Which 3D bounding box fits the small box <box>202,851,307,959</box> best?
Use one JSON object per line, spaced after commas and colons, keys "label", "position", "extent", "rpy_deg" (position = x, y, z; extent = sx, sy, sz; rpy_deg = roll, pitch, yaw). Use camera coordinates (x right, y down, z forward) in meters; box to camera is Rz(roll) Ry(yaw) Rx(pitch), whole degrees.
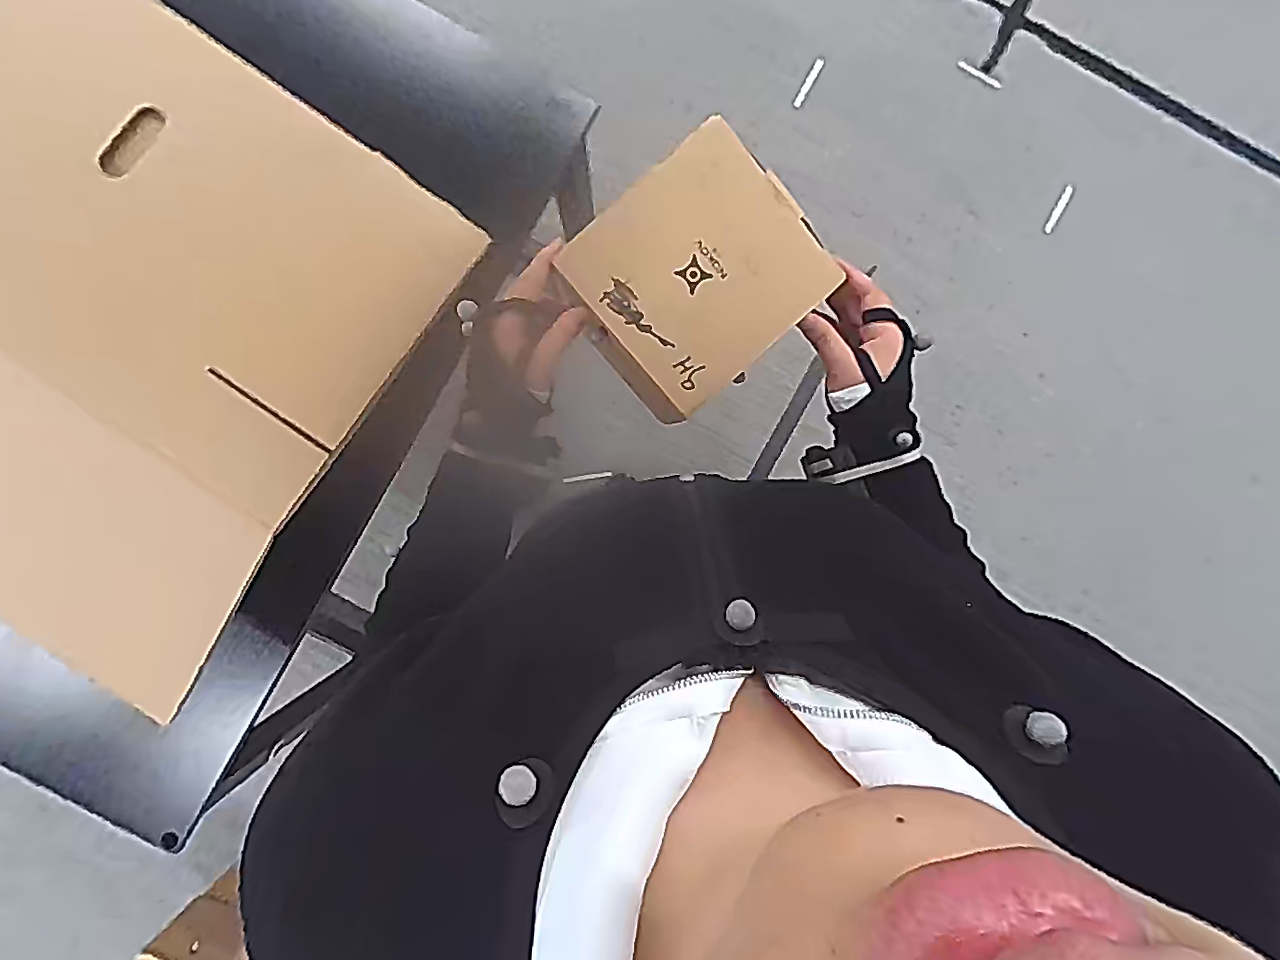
{"label": "small box", "position": [-1.004, 1.094, 1.377], "extent": [0.179, 0.176, 0.168], "rpy_deg": [25, 89, -2]}

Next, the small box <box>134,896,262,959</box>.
{"label": "small box", "position": [-1.005, 1.092, 1.215], "extent": [0.179, 0.176, 0.168], "rpy_deg": [22, 88, 0]}

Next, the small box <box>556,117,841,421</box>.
{"label": "small box", "position": [0.041, -0.173, 0.506], "extent": [0.179, 0.176, 0.168], "rpy_deg": [-42, 95, -2]}
